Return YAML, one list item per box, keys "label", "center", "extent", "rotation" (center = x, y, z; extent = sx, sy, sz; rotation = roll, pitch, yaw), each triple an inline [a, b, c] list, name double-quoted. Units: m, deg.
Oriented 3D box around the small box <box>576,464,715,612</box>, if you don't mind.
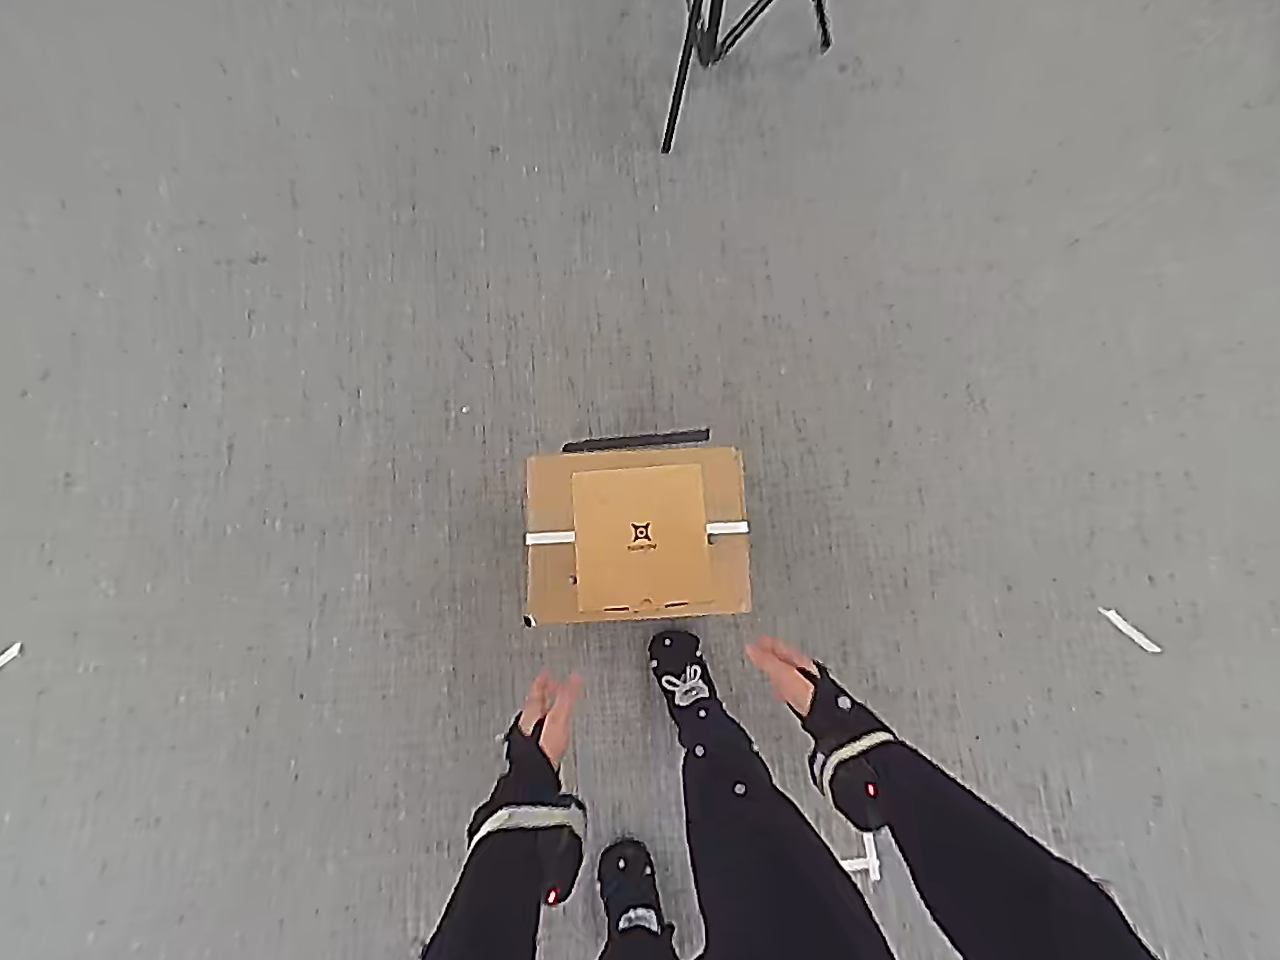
- label: "small box"
  center: [0.003, 0.082, 0.745]
  extent: [0.168, 0.176, 0.179]
  rotation: [-4, 82, -2]
